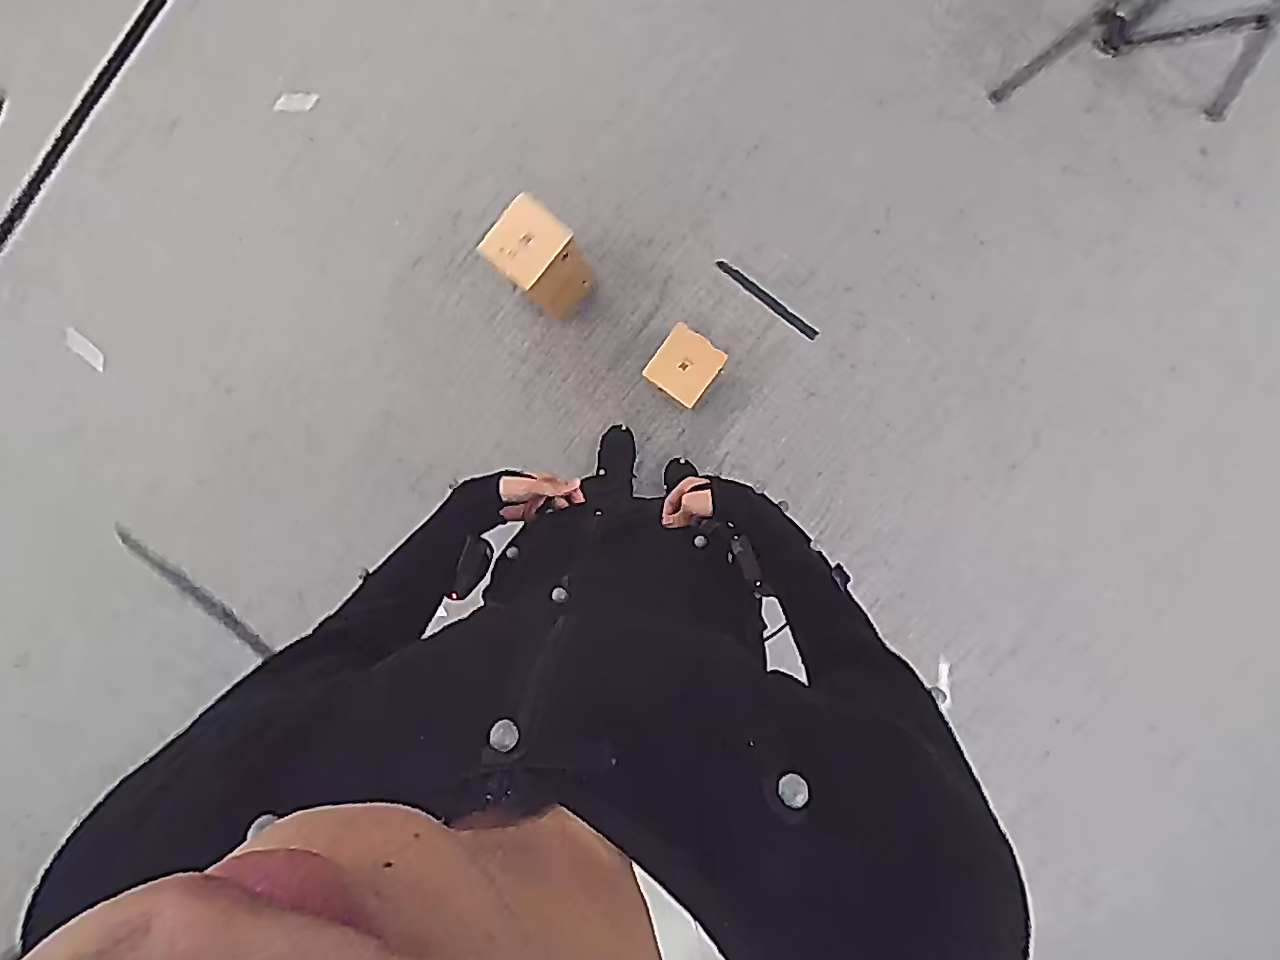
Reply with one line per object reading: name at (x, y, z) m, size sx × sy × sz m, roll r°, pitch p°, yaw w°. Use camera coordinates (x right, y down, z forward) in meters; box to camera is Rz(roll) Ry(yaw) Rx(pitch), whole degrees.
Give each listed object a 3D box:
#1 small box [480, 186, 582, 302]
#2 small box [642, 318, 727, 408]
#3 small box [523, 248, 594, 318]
small box at (-0.262, -0.581, 1.356) m, size 0.168 × 0.176 × 0.179 m, roll 42°, pitch 95°, yaw 2°
small box at (0.124, -0.317, 1.513) m, size 0.168 × 0.176 × 0.179 m, roll 37°, pitch 94°, yaw 1°
small box at (-0.244, -0.588, 1.519) m, size 0.168 × 0.176 × 0.179 m, roll 42°, pitch 94°, yaw 2°
